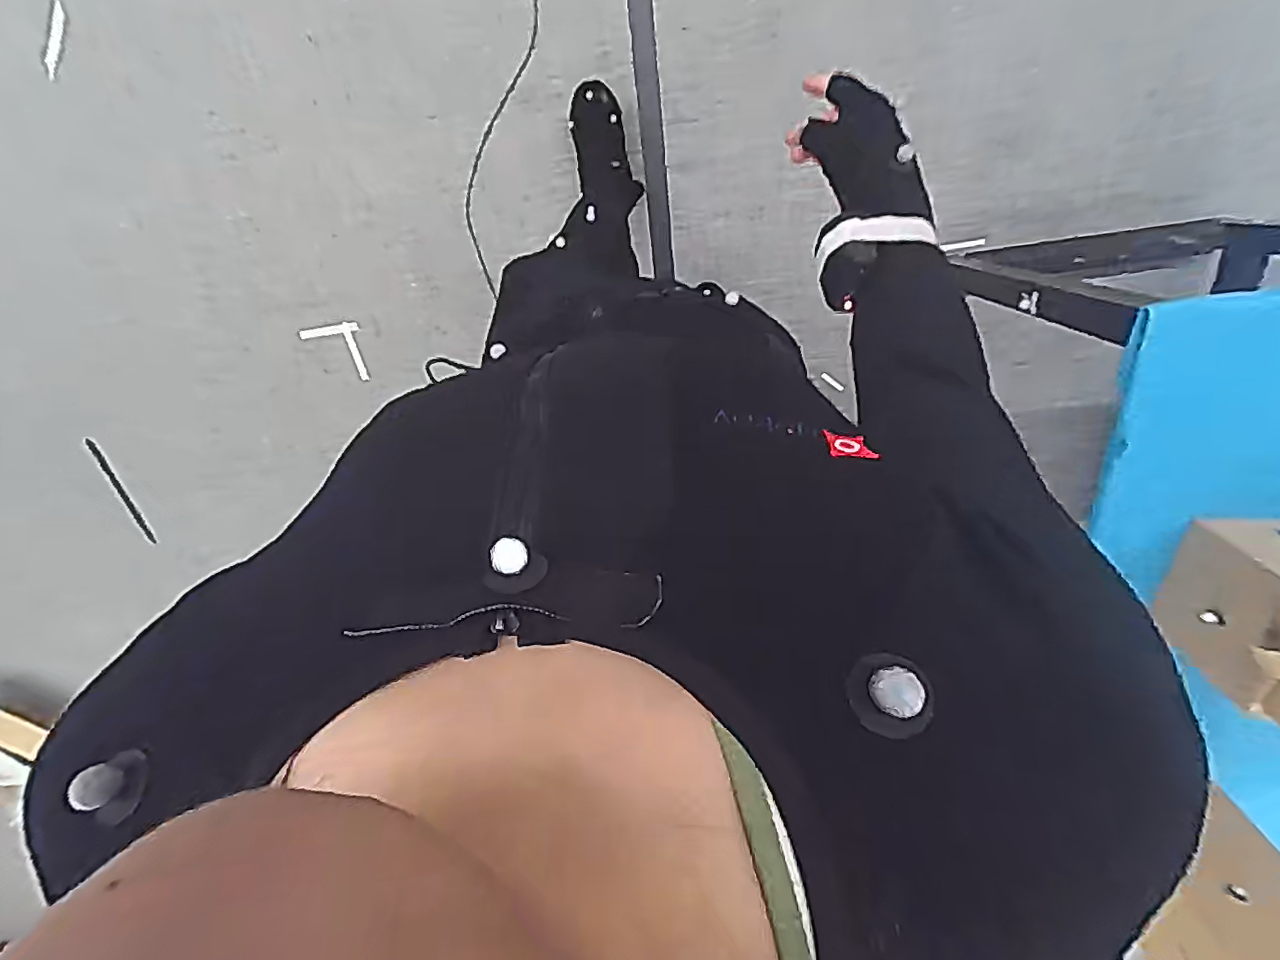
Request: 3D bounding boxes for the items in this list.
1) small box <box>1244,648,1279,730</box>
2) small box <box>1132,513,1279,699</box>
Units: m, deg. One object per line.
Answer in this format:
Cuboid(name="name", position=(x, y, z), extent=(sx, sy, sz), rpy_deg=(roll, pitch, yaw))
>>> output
Cuboid(name="small box", position=(0.769, 0.221, 0.506), extent=(0.179, 0.176, 0.168), rpy_deg=(4, 118, 6))
Cuboid(name="small box", position=(0.775, 0.153, 0.656), extent=(0.179, 0.176, 0.168), rpy_deg=(0, 118, 6))
